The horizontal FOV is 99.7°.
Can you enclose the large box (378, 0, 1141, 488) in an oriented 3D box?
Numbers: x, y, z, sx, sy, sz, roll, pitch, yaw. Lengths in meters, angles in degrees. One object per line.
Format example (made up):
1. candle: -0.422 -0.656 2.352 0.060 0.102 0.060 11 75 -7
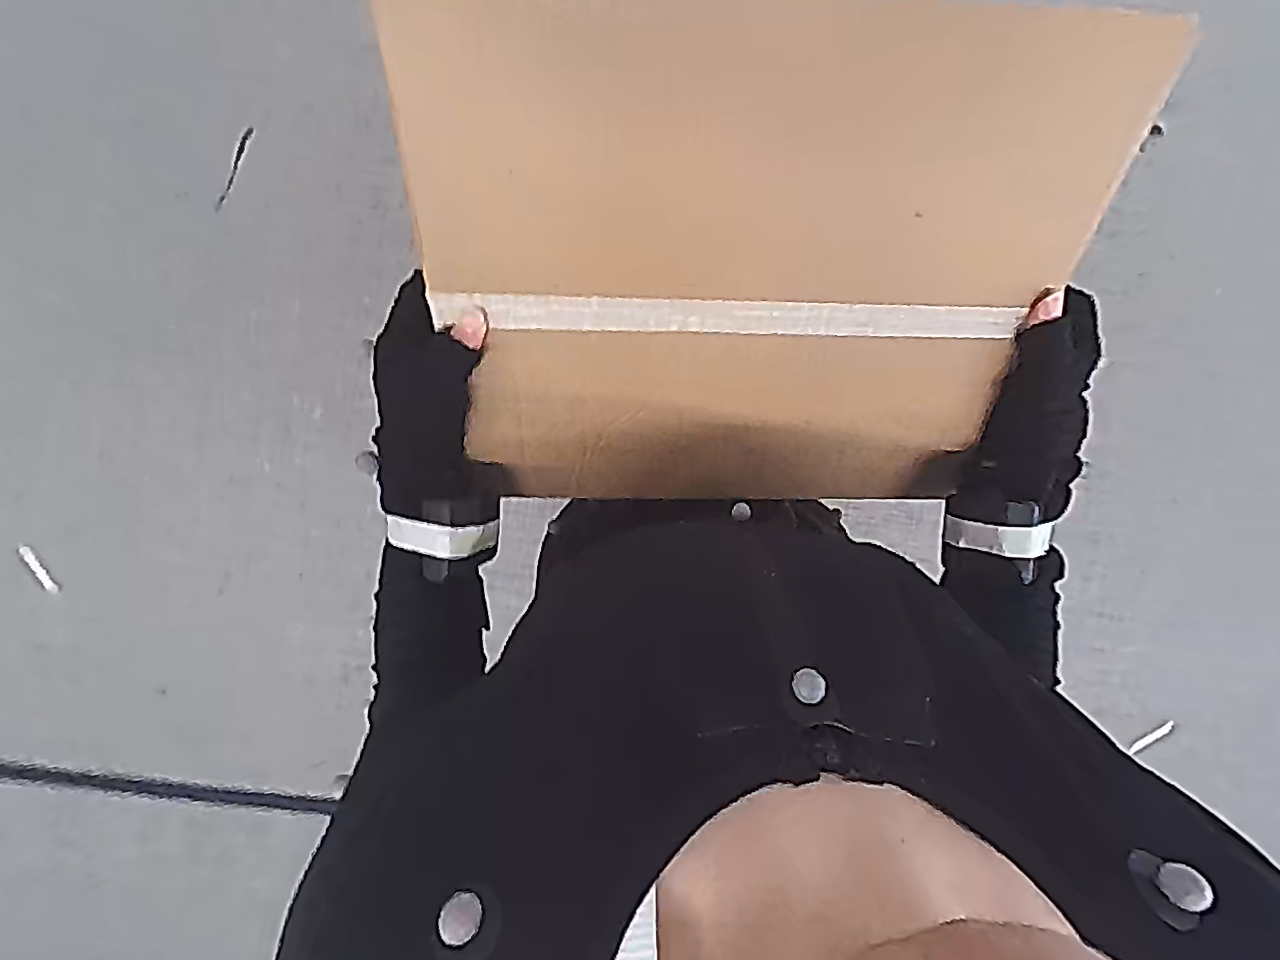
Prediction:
1. large box: 0.057 -0.210 0.481 0.408 0.320 0.320 -1 129 -4
